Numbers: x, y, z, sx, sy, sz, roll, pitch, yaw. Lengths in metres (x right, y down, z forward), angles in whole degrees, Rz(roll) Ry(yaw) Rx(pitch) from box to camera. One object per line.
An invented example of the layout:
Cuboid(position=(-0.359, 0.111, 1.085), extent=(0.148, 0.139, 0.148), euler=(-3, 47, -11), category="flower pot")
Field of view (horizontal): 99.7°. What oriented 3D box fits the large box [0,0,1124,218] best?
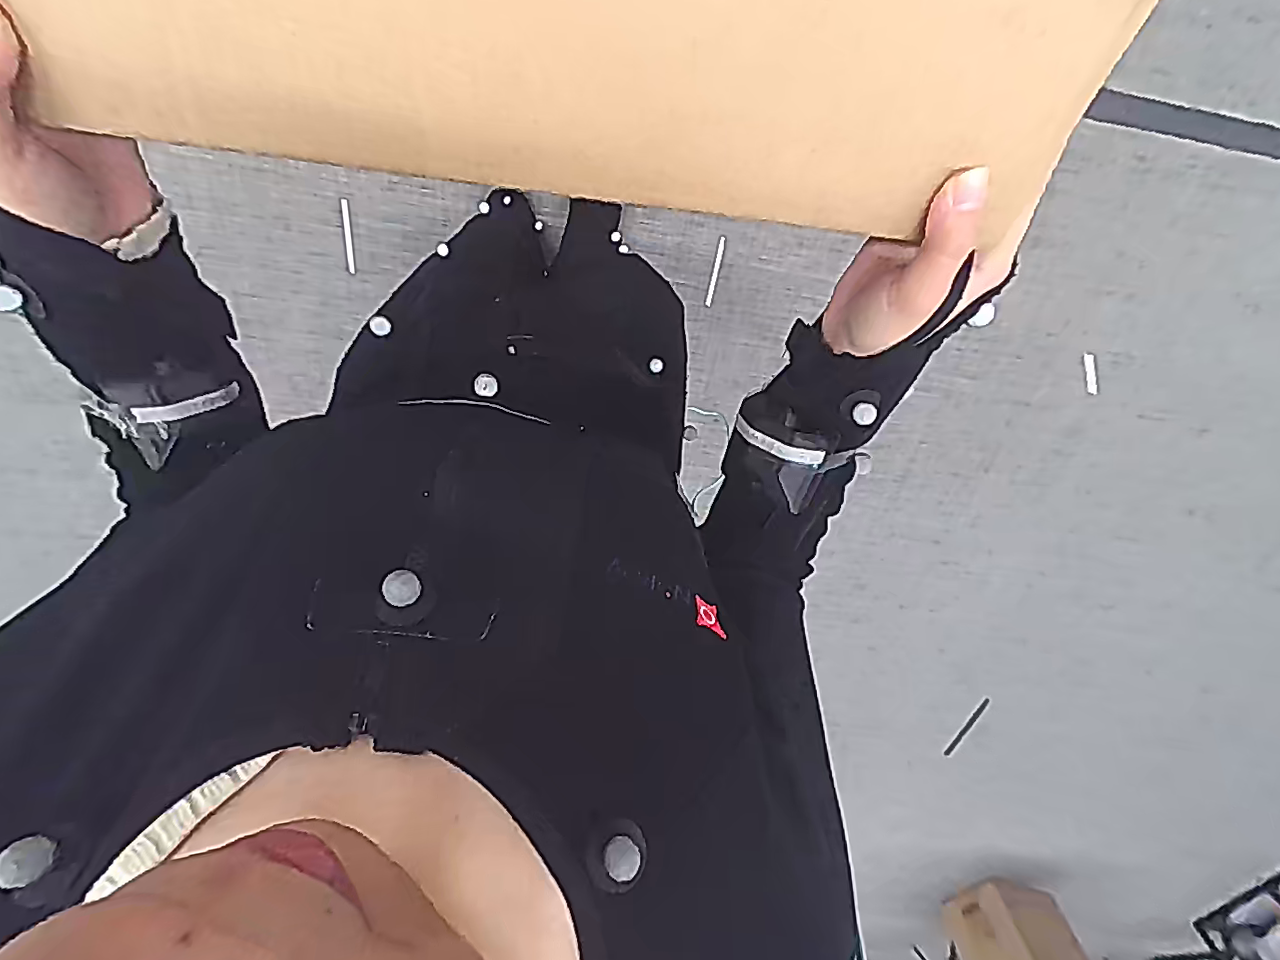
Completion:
Cuboid(position=(-0.028, -0.337, 0.209), extent=(0.408, 0.320, 0.320), euler=(3, 139, -6), category="large box")
